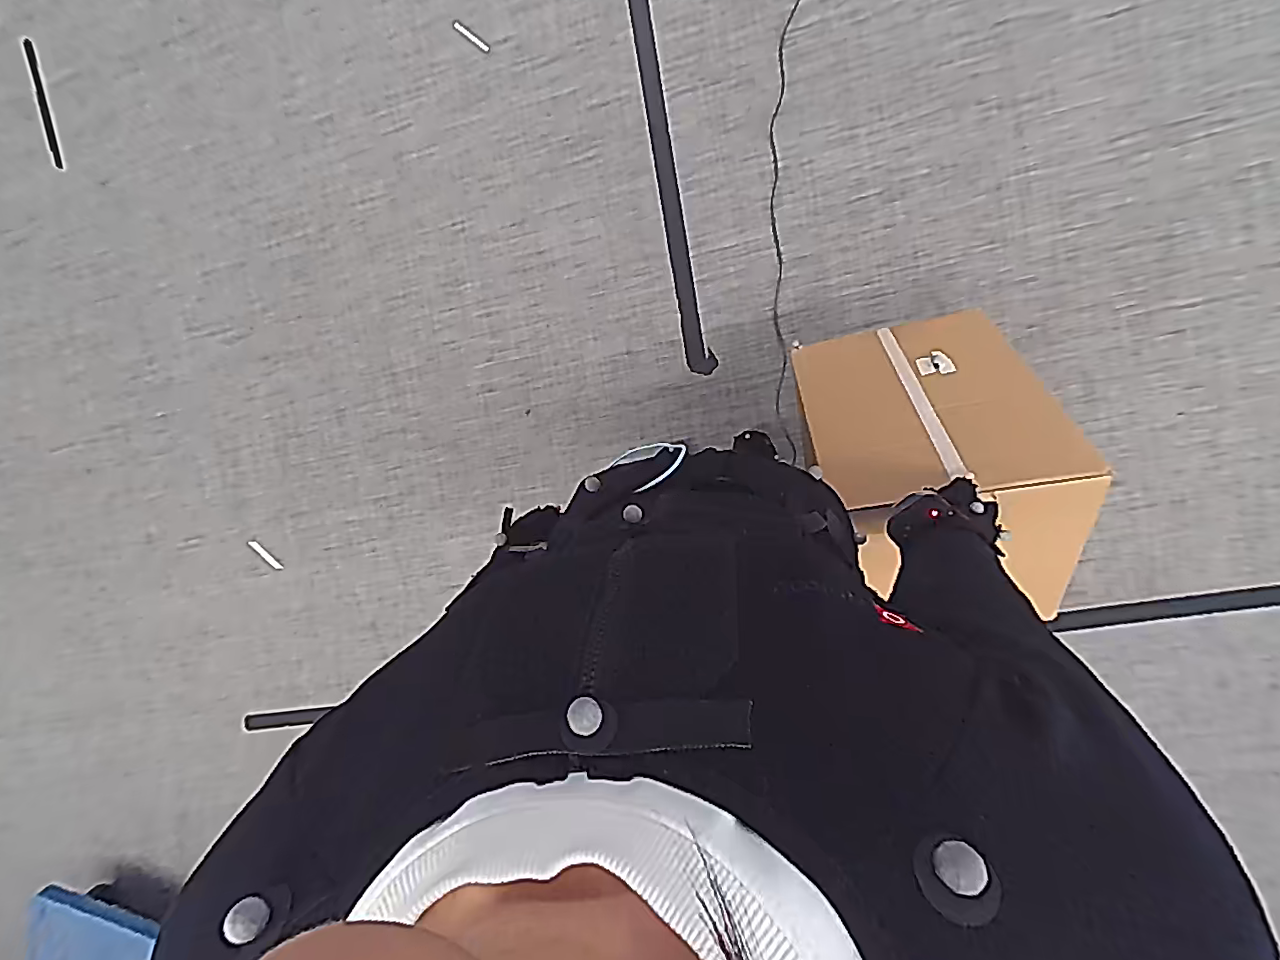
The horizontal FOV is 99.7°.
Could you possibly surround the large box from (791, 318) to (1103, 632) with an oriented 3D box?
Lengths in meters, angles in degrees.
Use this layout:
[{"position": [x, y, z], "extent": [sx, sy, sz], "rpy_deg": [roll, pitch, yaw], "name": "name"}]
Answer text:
[{"position": [0.456, -0.011, 0.909], "extent": [0.320, 0.408, 0.320], "rpy_deg": [-9, 132, 13], "name": "large box"}]
